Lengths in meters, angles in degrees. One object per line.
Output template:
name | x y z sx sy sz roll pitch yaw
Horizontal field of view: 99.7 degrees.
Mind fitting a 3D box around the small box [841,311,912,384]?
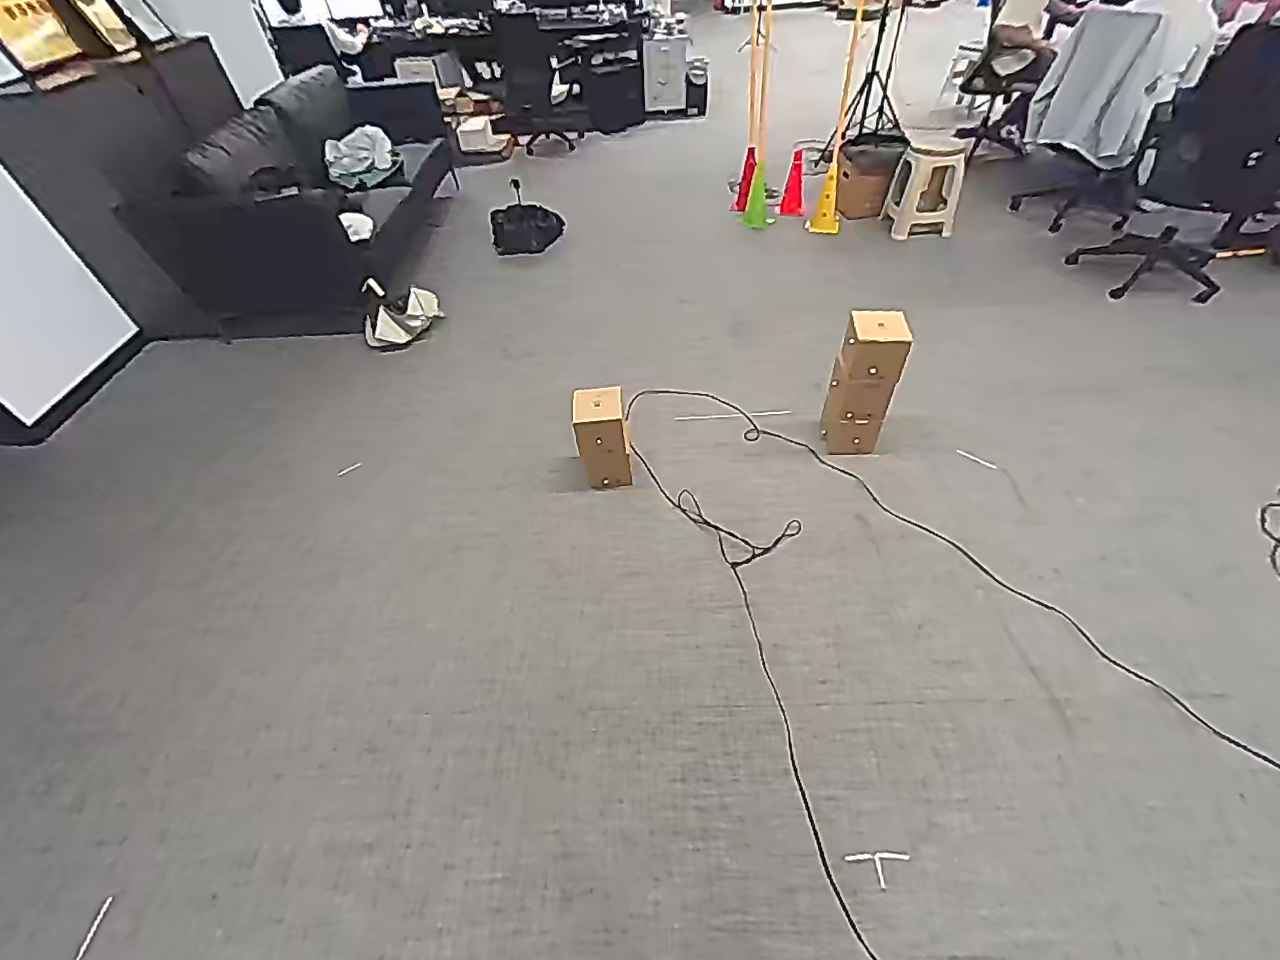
small box | 0.780 -0.443 1.805 0.168 0.176 0.179 3 49 7

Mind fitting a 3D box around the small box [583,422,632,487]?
small box | -0.118 -0.094 2.013 0.168 0.176 0.179 -5 48 1

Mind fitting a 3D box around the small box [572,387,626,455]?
small box | -0.140 -0.201 1.890 0.168 0.176 0.179 -5 47 1

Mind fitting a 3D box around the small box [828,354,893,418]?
small box | 0.782 -0.335 1.927 0.168 0.176 0.179 -1 47 4

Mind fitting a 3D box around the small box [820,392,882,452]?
small box | 0.790 -0.218 2.042 0.168 0.176 0.179 -1 48 4
